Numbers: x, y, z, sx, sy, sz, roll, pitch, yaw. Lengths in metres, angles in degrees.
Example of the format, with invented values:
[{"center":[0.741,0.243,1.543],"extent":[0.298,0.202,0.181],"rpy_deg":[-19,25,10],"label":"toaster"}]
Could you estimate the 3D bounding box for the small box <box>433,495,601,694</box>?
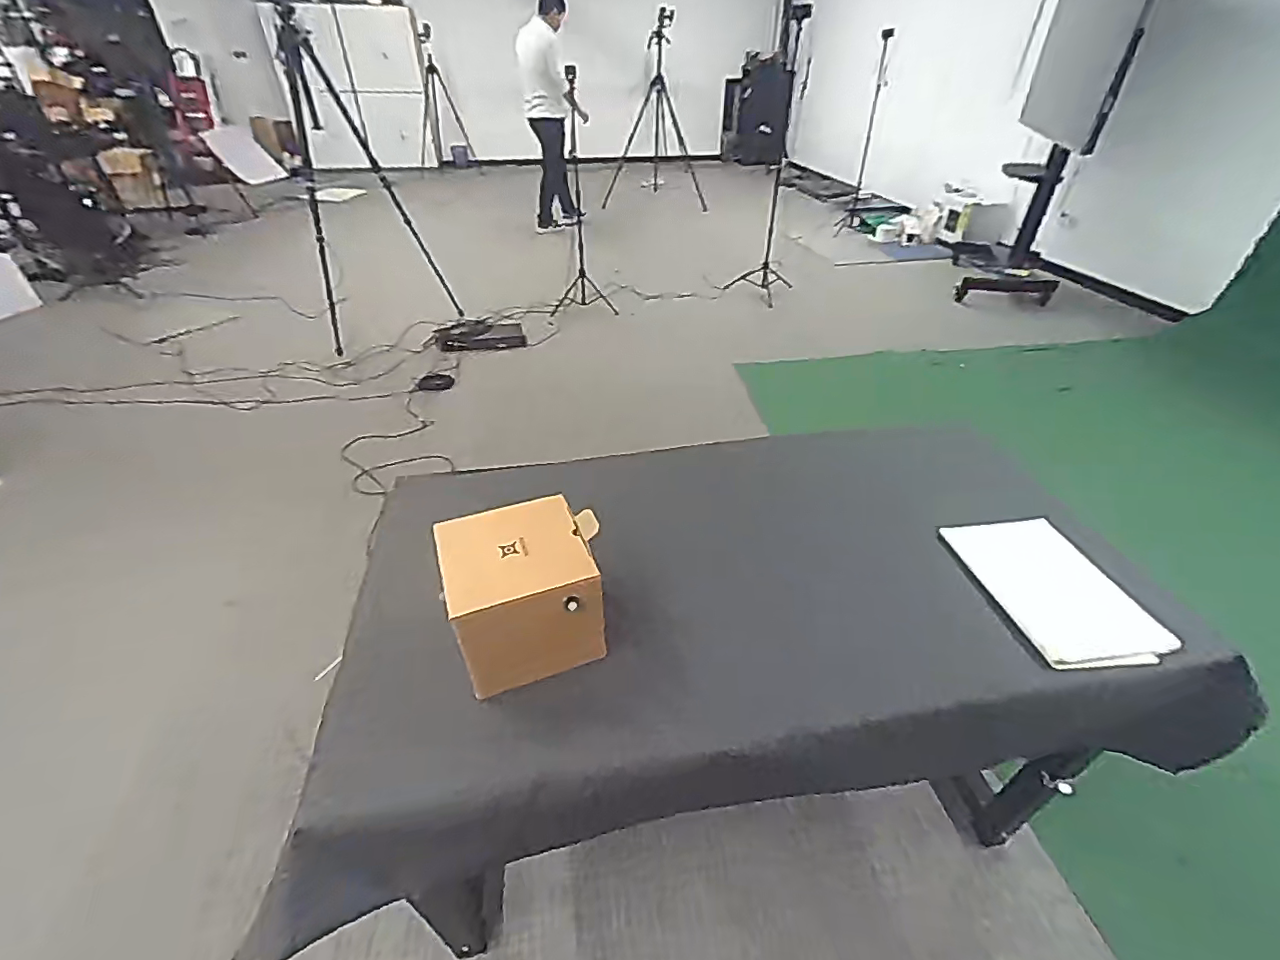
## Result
[{"center":[-0.158,0.149,0.714],"extent":[0.179,0.176,0.168],"rpy_deg":[-13,39,-19],"label":"small box"}]
